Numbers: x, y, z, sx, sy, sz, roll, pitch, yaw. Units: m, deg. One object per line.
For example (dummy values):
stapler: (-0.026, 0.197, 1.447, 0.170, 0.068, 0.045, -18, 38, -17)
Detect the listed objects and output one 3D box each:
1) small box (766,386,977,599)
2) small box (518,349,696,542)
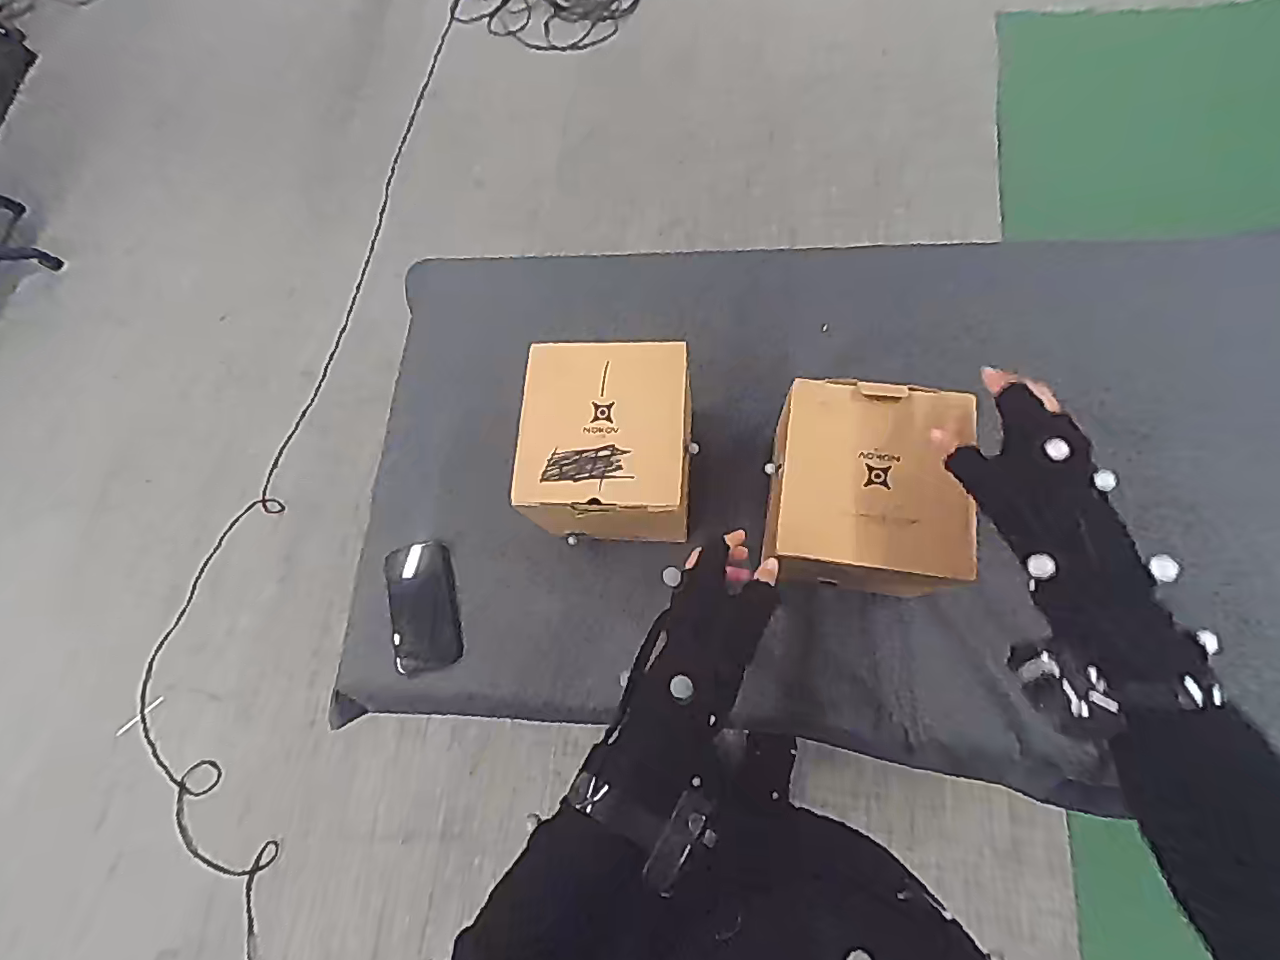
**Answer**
small box: (0.229, 0.022, 0.571, 0.168, 0.176, 0.179, 7, 75, 10)
small box: (-0.024, -0.030, 0.614, 0.168, 0.176, 0.179, 2, 72, 7)
